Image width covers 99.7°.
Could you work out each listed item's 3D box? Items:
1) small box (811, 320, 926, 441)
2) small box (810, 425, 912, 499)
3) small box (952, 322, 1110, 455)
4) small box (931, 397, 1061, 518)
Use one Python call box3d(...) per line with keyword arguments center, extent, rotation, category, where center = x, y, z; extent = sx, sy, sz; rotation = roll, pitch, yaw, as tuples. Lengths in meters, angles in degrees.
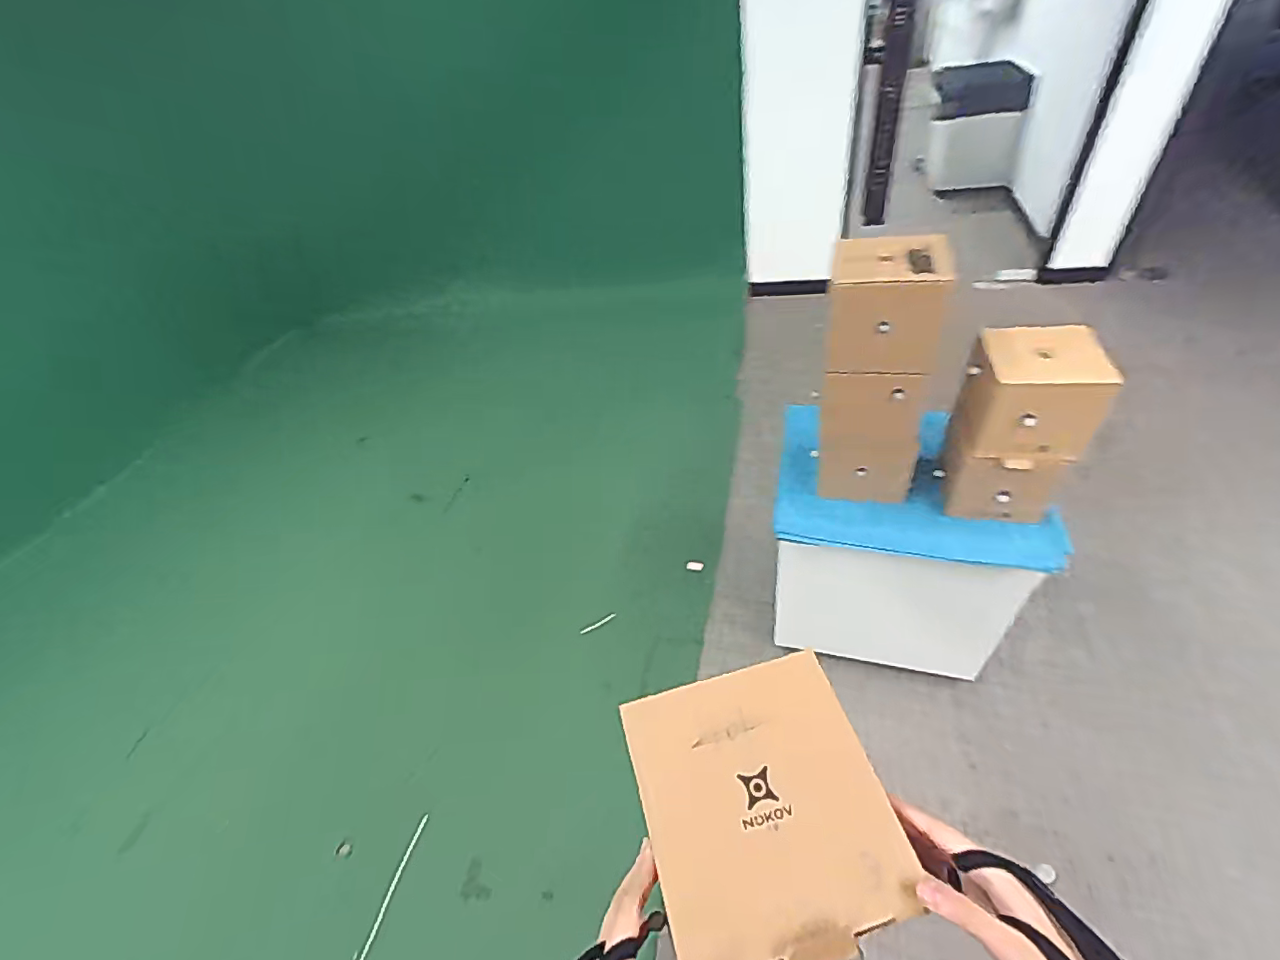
box3d(center=(0.430, -0.189, 1.040), extent=(0.179, 0.176, 0.168), rotation=(4, 46, 16), category="small box")
box3d(center=(0.463, -0.075, 1.153), extent=(0.179, 0.176, 0.168), rotation=(4, 46, 16), category="small box")
box3d(center=(0.675, -0.159, 0.959), extent=(0.168, 0.176, 0.179), rotation=(2, 44, 15), category="small box")
box3d(center=(0.692, -0.044, 1.074), extent=(0.168, 0.176, 0.179), rotation=(4, 47, 16), category="small box")
